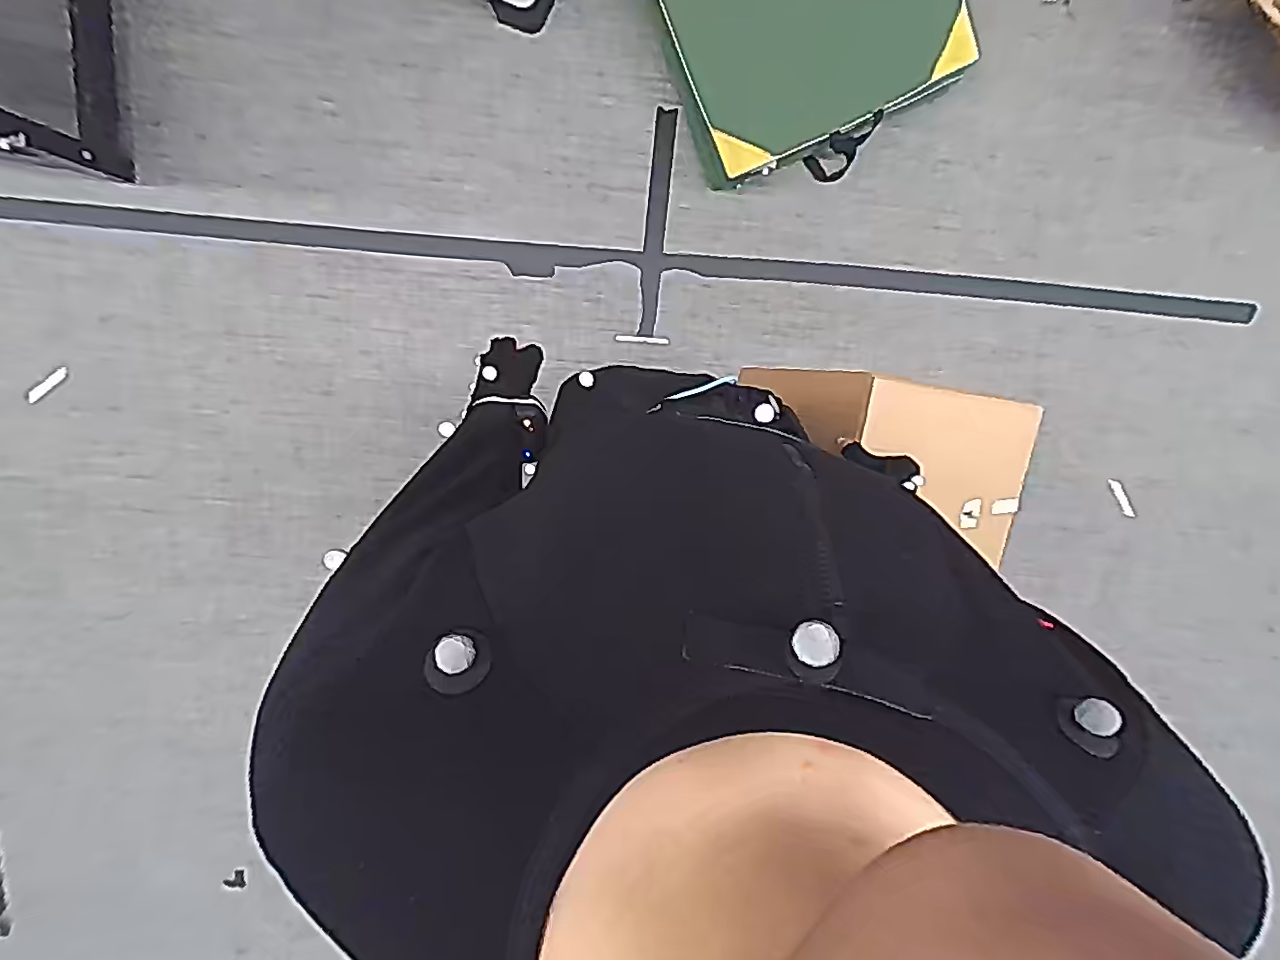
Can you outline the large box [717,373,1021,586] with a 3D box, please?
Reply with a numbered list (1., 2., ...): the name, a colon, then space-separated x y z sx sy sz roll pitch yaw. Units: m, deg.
1. large box: 0.379 -0.021 0.995 0.320 0.408 0.320 6 101 -16
